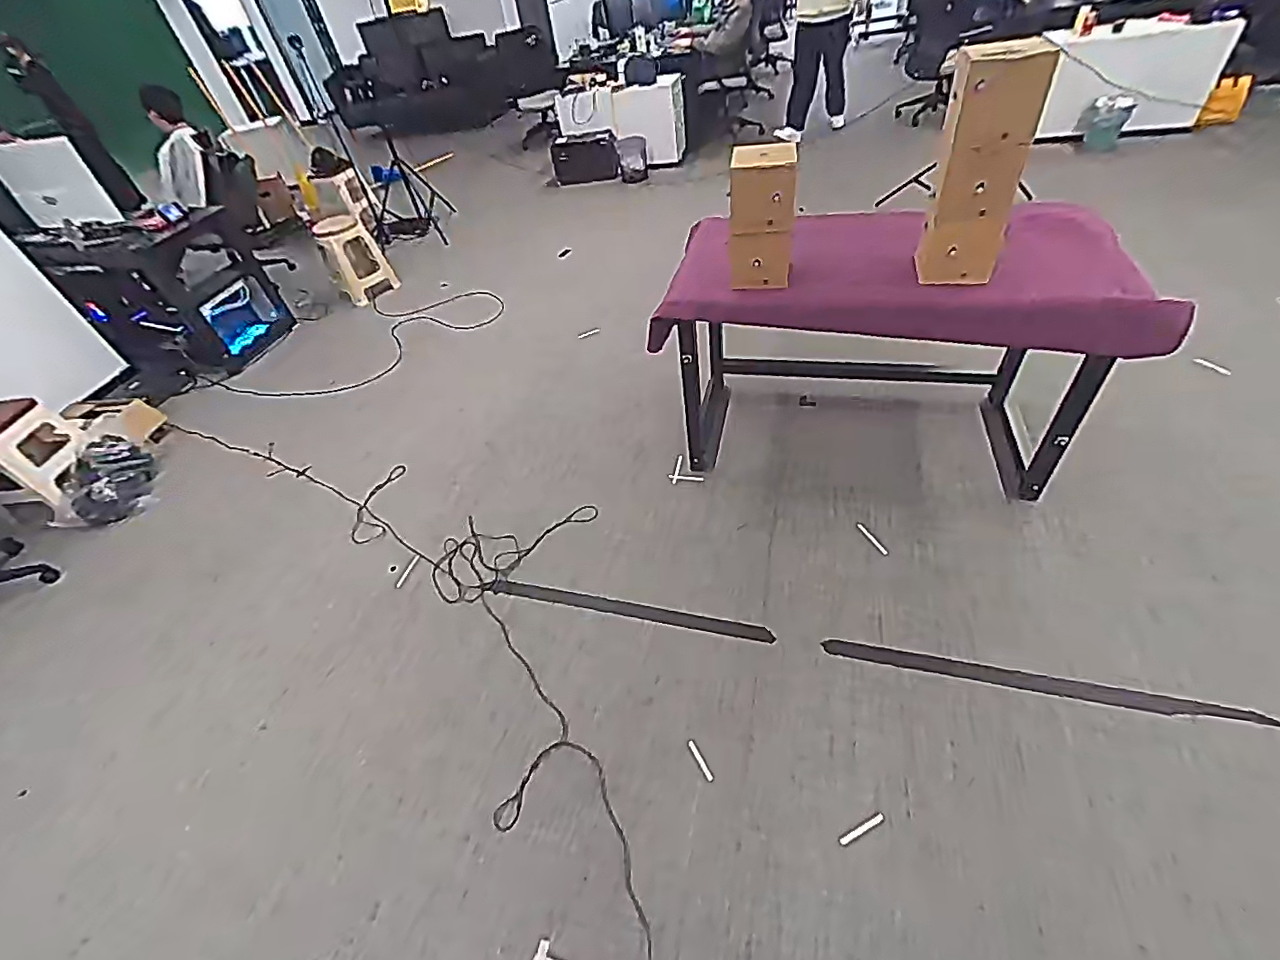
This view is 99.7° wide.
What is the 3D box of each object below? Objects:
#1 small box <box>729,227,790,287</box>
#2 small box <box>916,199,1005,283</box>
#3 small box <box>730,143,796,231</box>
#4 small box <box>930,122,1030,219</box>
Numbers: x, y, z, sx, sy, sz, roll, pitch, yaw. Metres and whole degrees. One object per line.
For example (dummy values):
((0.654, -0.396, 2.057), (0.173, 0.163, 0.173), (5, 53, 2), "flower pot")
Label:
((0.351, -0.678, 1.579), (0.168, 0.176, 0.179), (3, 46, 13), "small box")
((0.855, -0.645, 1.458), (0.168, 0.176, 0.179), (5, 47, 16), "small box")
((0.331, -0.785, 1.459), (0.168, 0.176, 0.179), (2, 45, 11), "small box")
((0.835, -0.762, 1.345), (0.168, 0.176, 0.179), (6, 48, 17), "small box")
